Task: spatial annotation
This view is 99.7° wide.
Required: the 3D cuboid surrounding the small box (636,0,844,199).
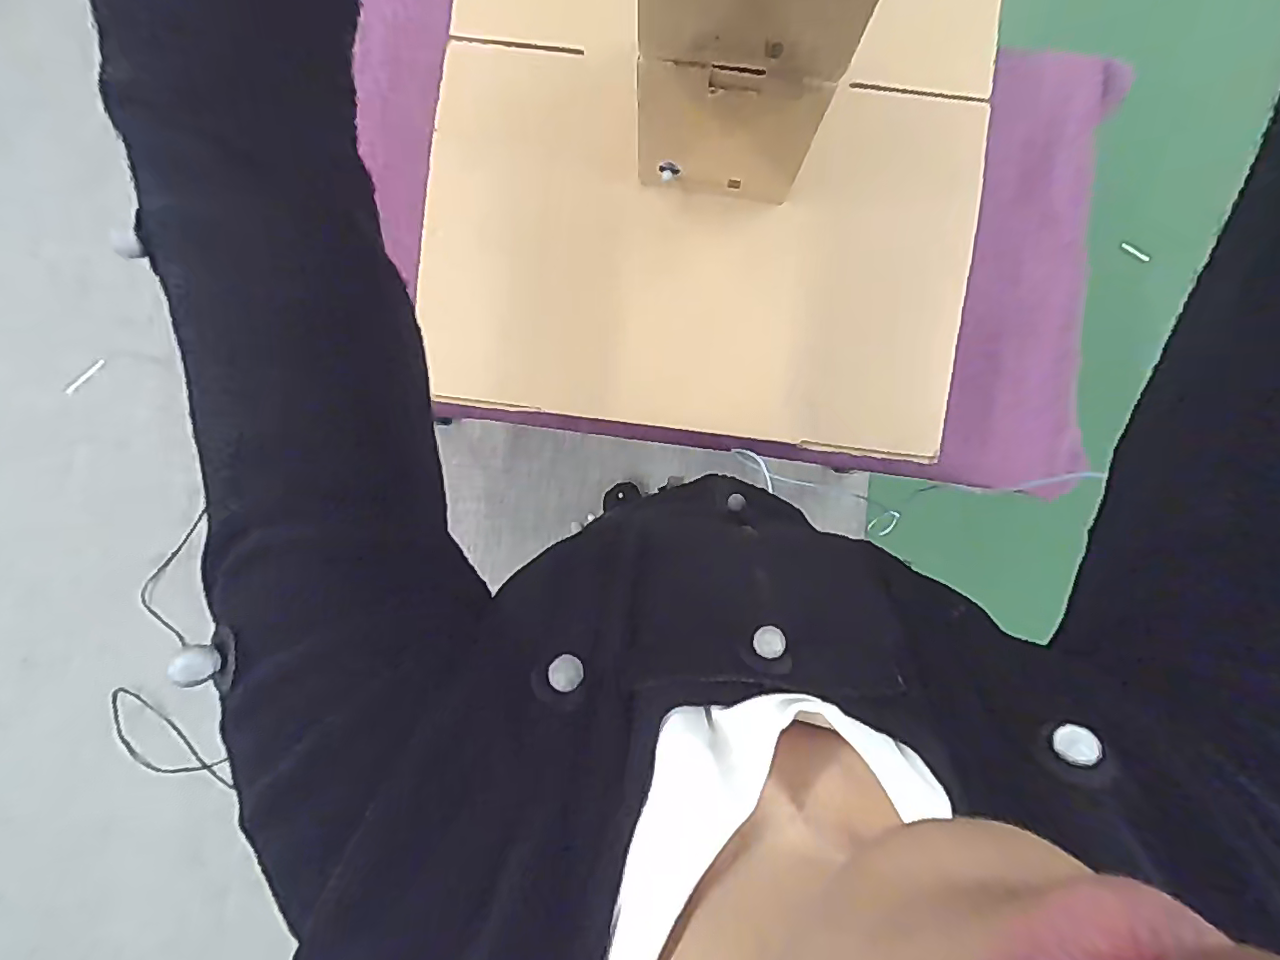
[{"bbox_3d":[0.086,-0.399,0.519,0.168,0.176,0.179,5,88,0],"label":"small box"}]
